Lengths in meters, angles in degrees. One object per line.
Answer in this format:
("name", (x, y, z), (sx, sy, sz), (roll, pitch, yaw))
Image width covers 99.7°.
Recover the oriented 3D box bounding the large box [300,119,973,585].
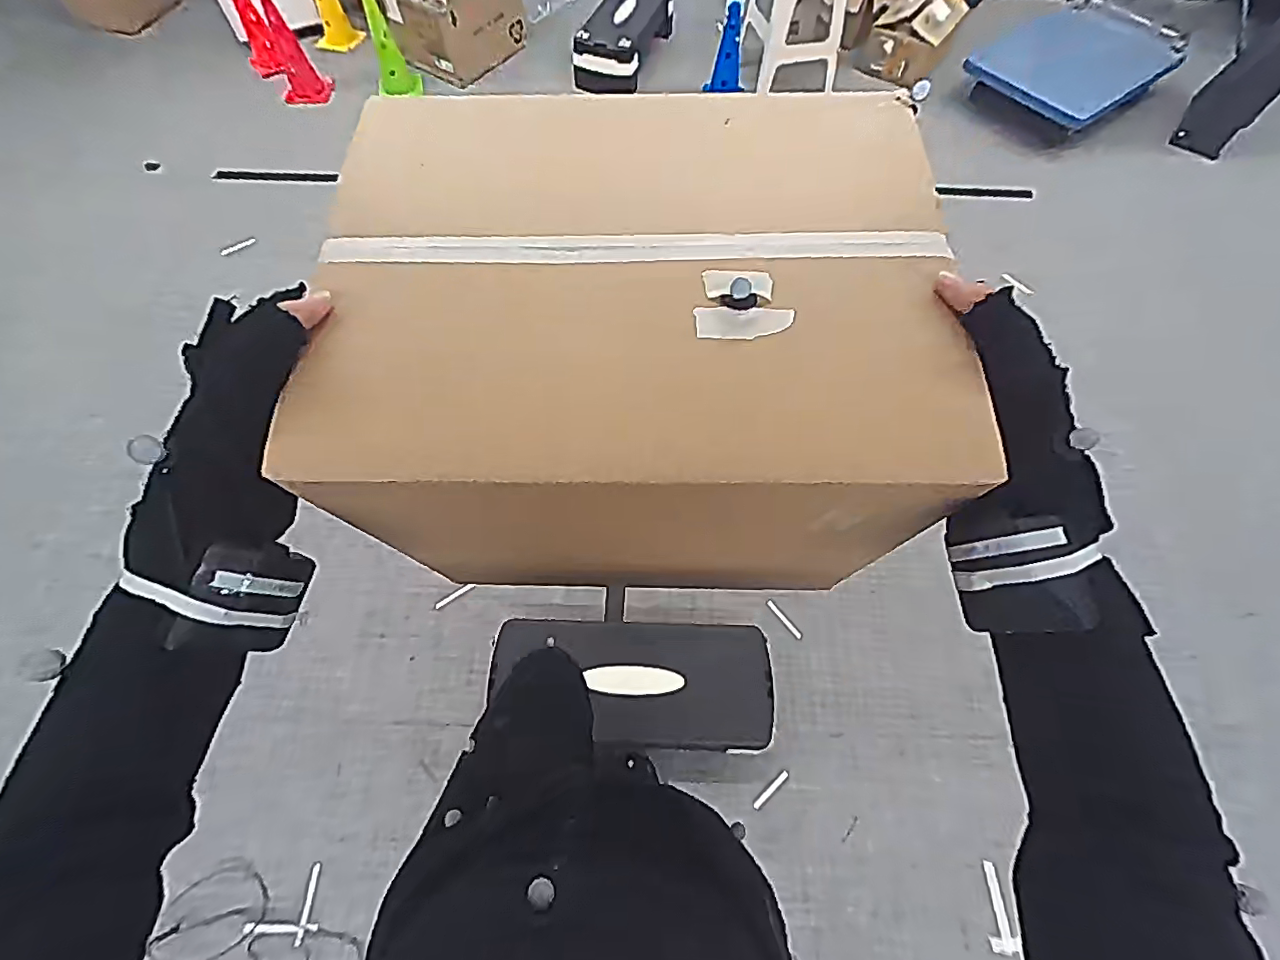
("large box", (-0.002, -0.087, 0.508), (0.408, 0.320, 0.320), (1, 68, 1))
